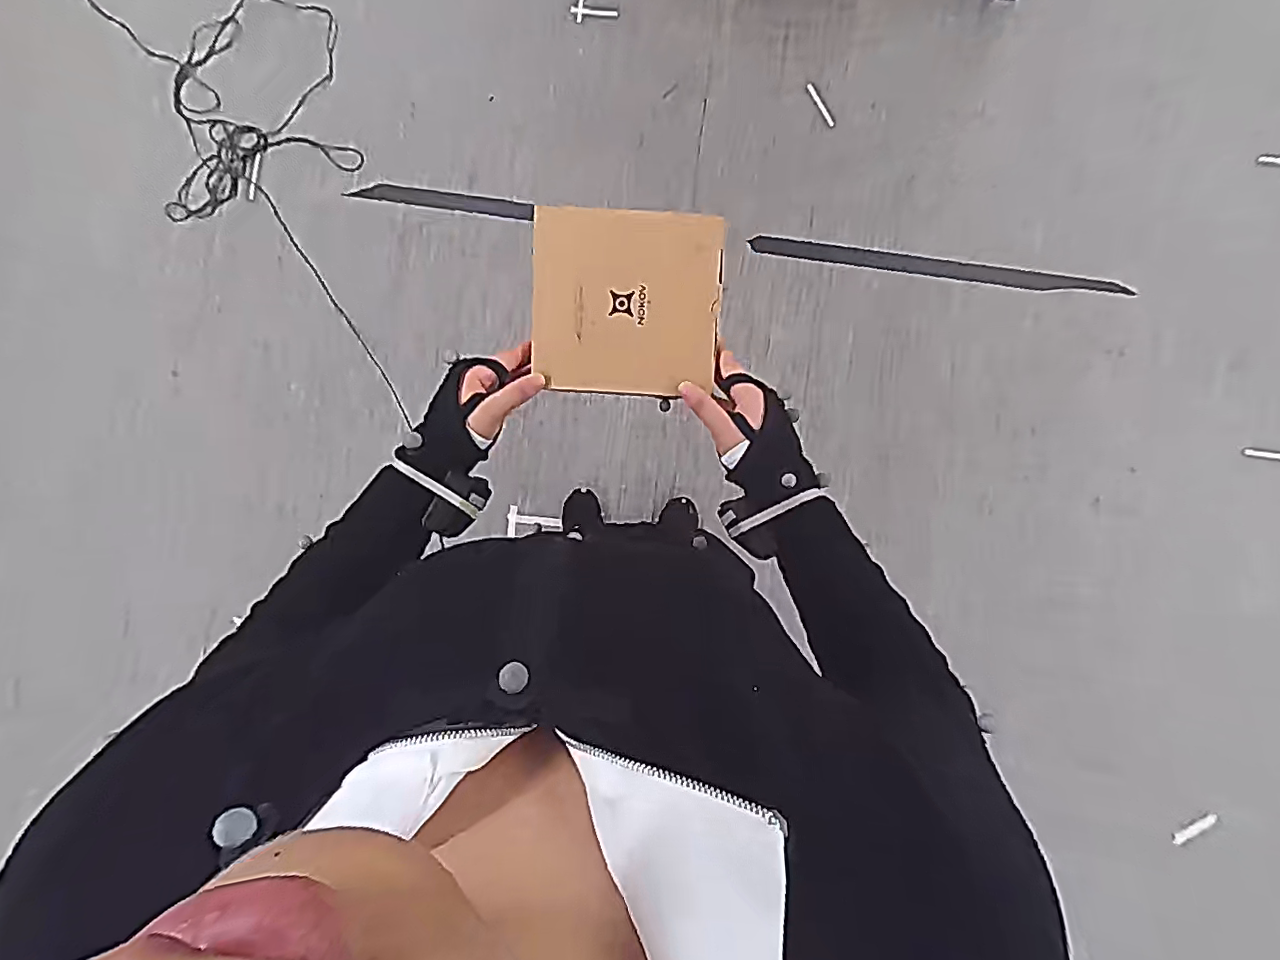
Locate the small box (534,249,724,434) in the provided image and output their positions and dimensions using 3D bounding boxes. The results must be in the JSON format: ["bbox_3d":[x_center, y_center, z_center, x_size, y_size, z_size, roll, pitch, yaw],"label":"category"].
[{"bbox_3d":[-0.011,-0.140,0.591,0.179,0.176,0.168,2,97,1],"label":"small box"}]
